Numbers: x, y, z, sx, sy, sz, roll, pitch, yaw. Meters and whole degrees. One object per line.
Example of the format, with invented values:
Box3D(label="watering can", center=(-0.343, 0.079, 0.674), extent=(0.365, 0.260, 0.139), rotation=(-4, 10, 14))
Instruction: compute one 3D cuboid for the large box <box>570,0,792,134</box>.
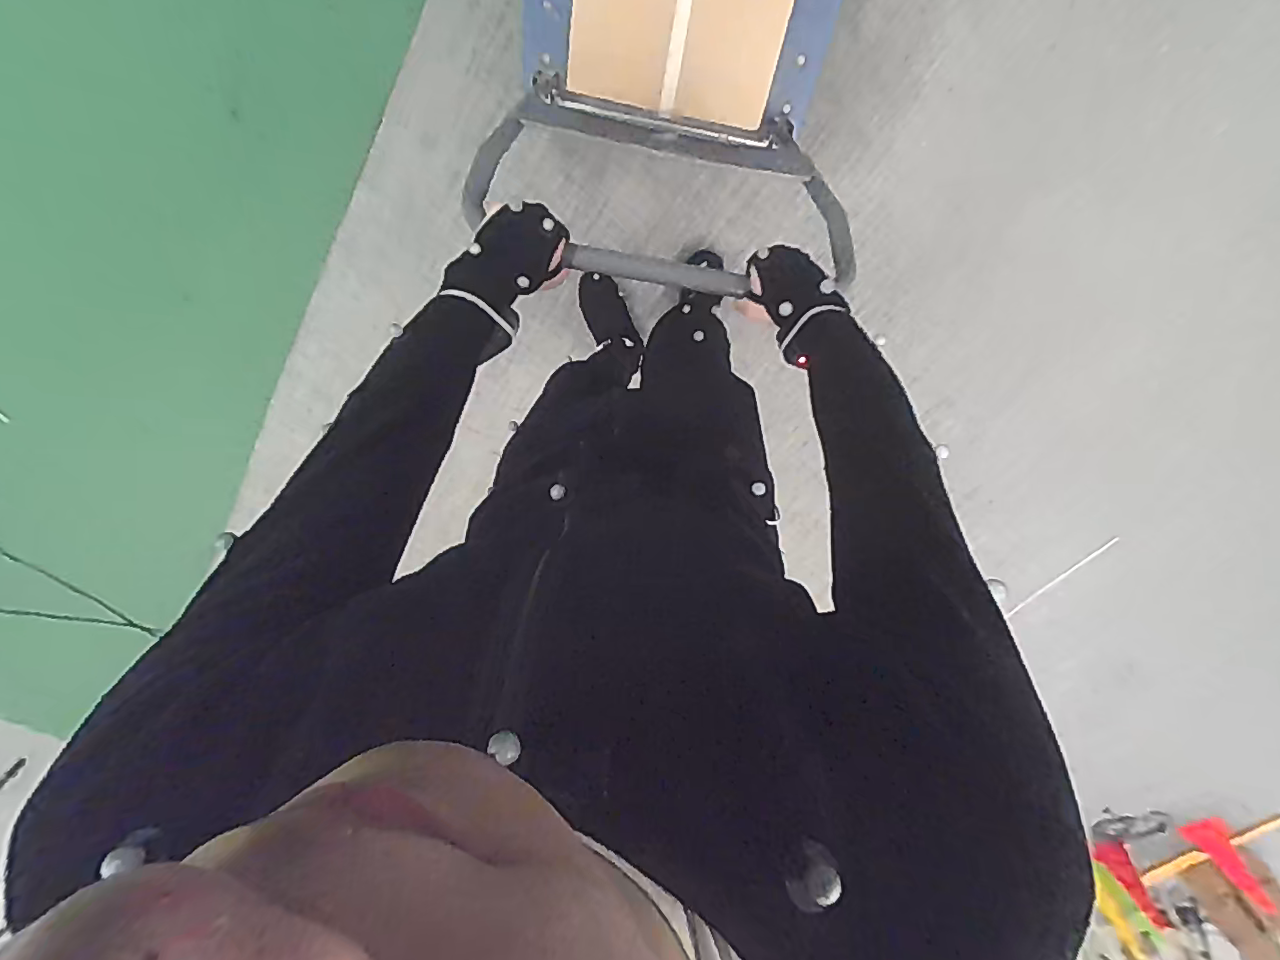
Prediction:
Box3D(label="large box", center=(0.079, -0.834, 0.863), extent=(0.320, 0.320, 0.408), rotation=(9, 130, -6))
